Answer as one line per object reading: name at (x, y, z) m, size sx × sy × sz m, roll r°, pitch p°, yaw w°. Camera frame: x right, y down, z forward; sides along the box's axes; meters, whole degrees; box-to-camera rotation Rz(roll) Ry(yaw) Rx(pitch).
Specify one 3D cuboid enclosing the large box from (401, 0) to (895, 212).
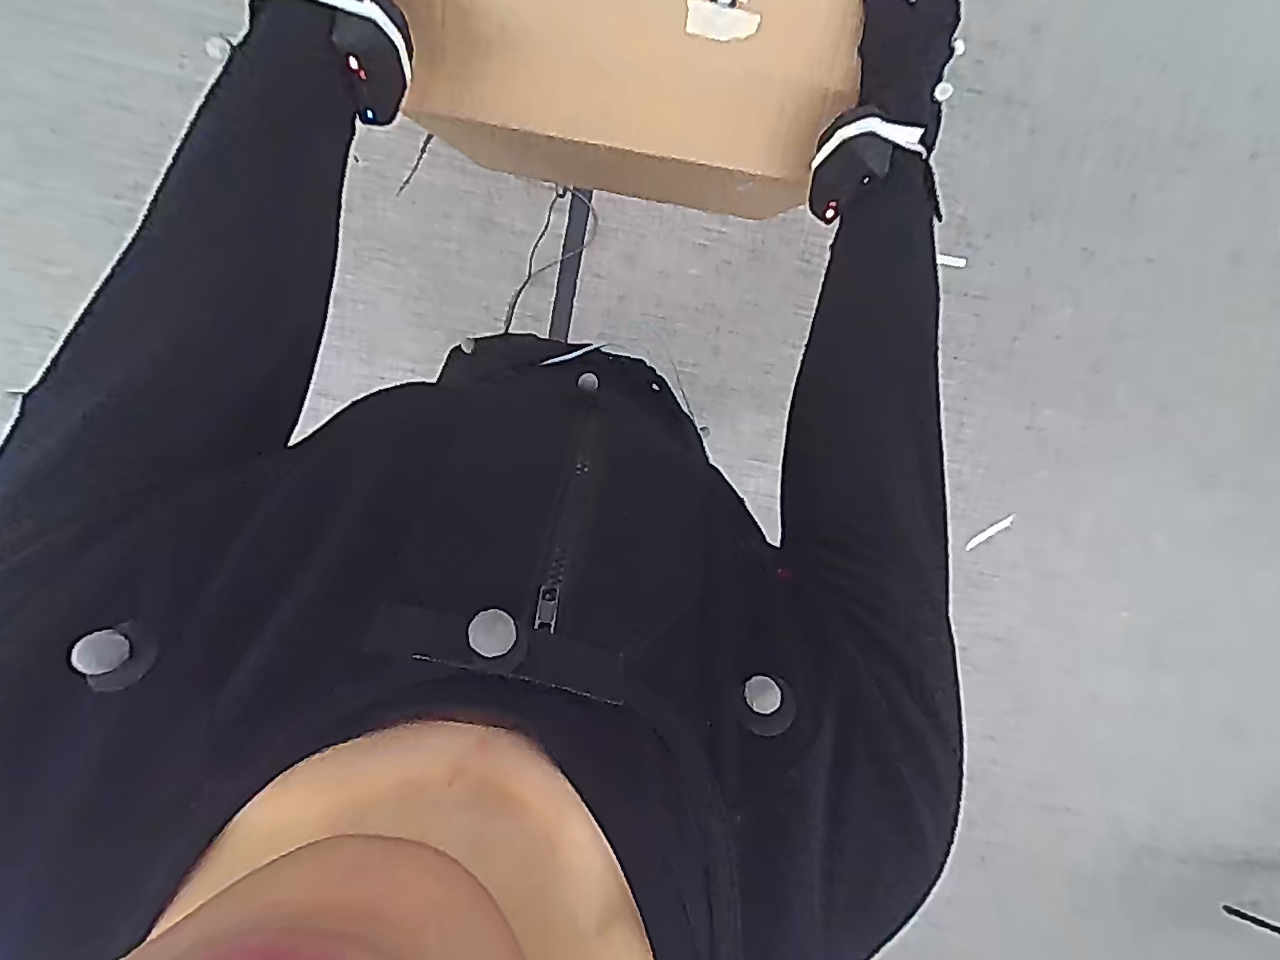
large box at (0.012, -0.491, 0.557) m, size 0.408 × 0.320 × 0.320 m, roll 9°, pitch 112°, yaw -5°
